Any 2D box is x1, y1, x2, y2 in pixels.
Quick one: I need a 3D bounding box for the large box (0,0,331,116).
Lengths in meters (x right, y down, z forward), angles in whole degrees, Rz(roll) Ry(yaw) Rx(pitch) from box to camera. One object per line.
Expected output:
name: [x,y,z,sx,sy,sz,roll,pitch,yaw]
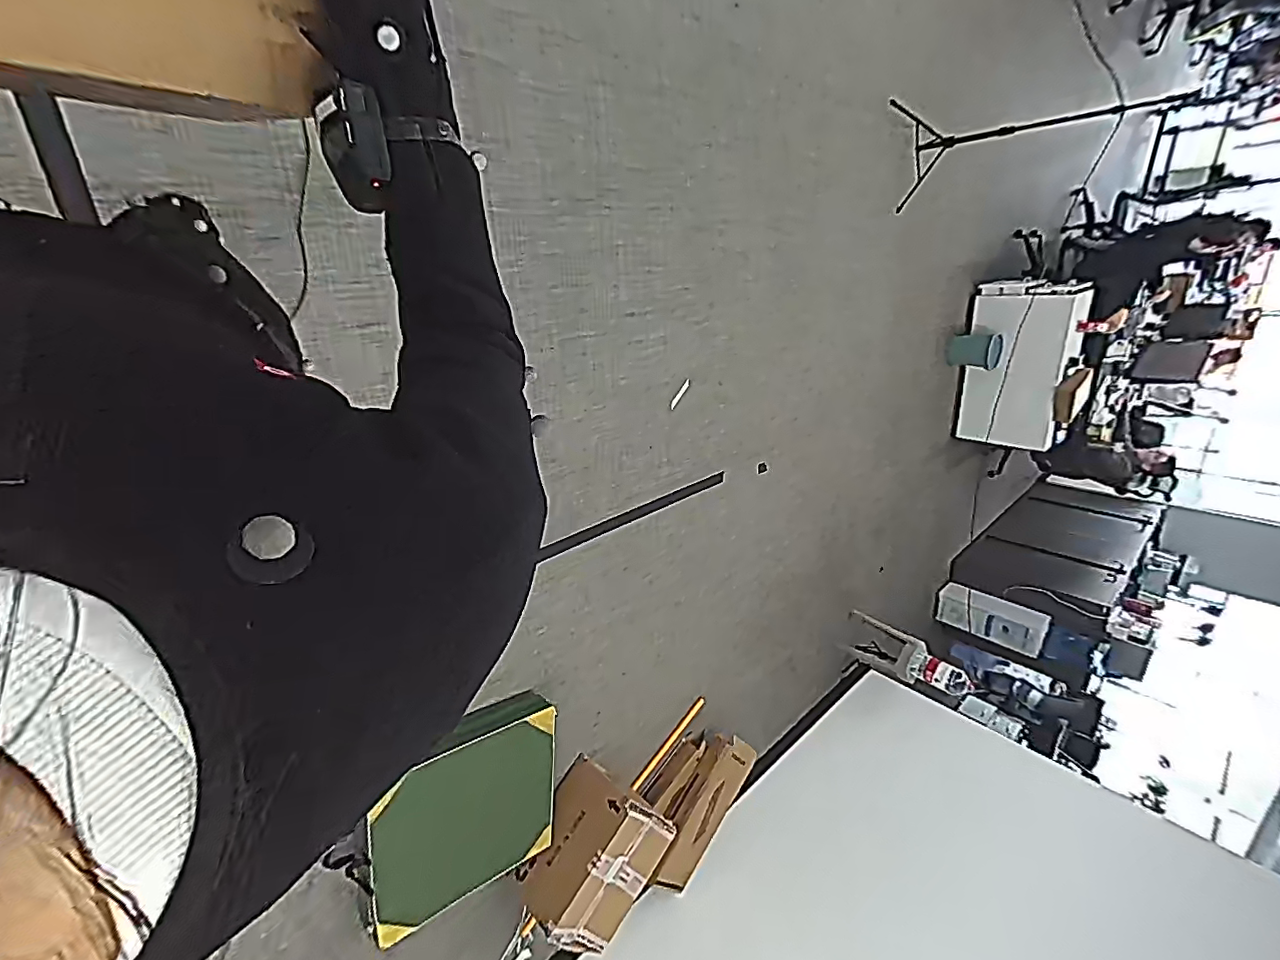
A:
large box: [-0.457,-0.410,0.289,0.408,0.320,0.320,-19,128,-40]
